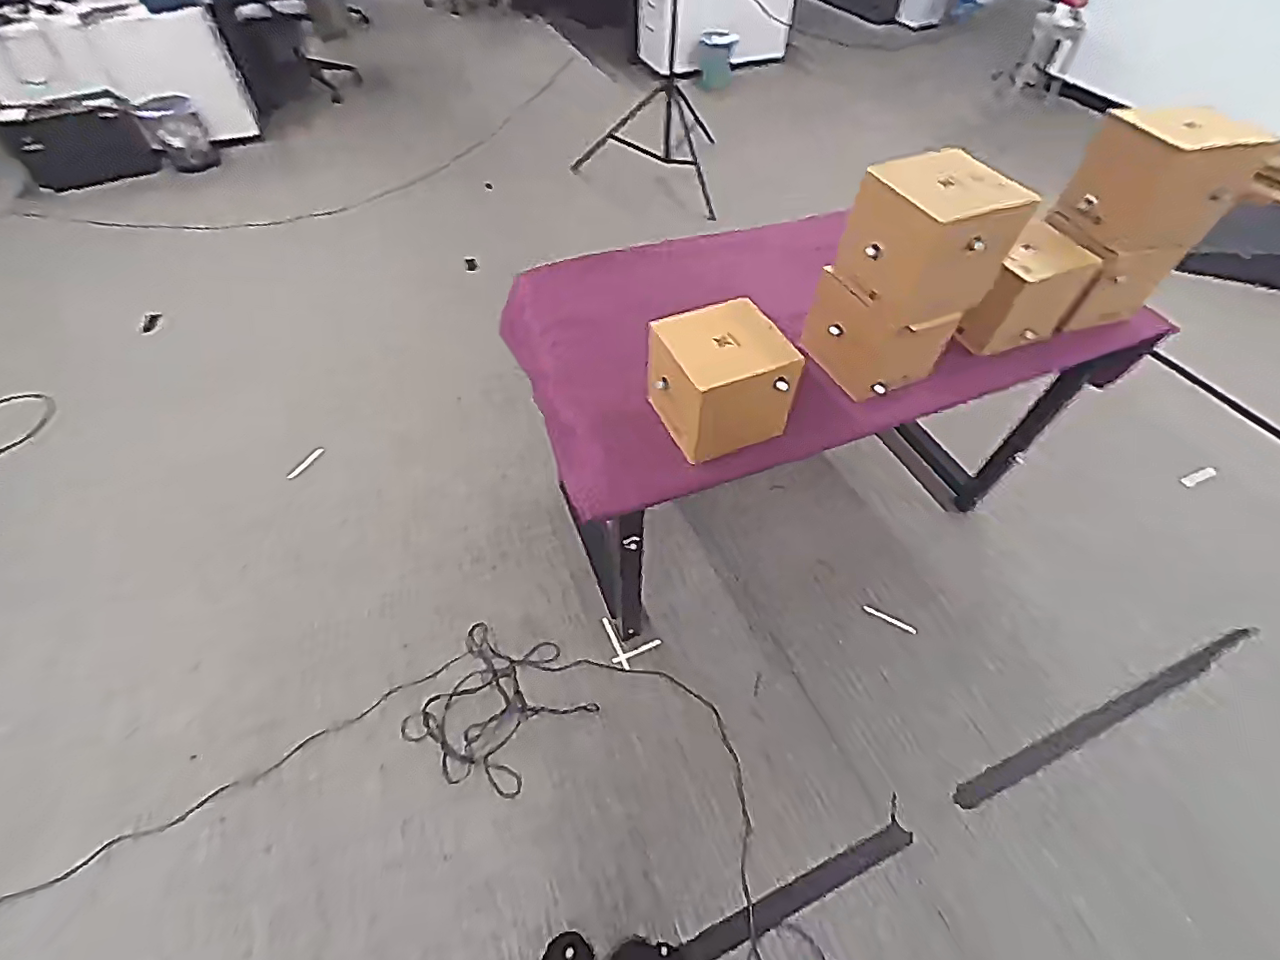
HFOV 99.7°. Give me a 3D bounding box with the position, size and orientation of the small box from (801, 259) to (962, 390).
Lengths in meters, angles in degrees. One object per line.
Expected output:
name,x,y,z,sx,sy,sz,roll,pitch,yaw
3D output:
small box,0.414,-0.280,0.952,0.168,0.176,0.179,-21,56,-16

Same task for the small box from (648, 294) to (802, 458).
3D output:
small box,0.124,-0.161,0.863,0.179,0.176,0.168,-20,57,-15

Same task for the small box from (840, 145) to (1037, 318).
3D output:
small box,0.426,-0.368,0.813,0.179,0.176,0.168,-19,57,-14

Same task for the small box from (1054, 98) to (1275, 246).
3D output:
small box,0.886,-0.530,0.938,0.179,0.176,0.168,-10,53,-6
